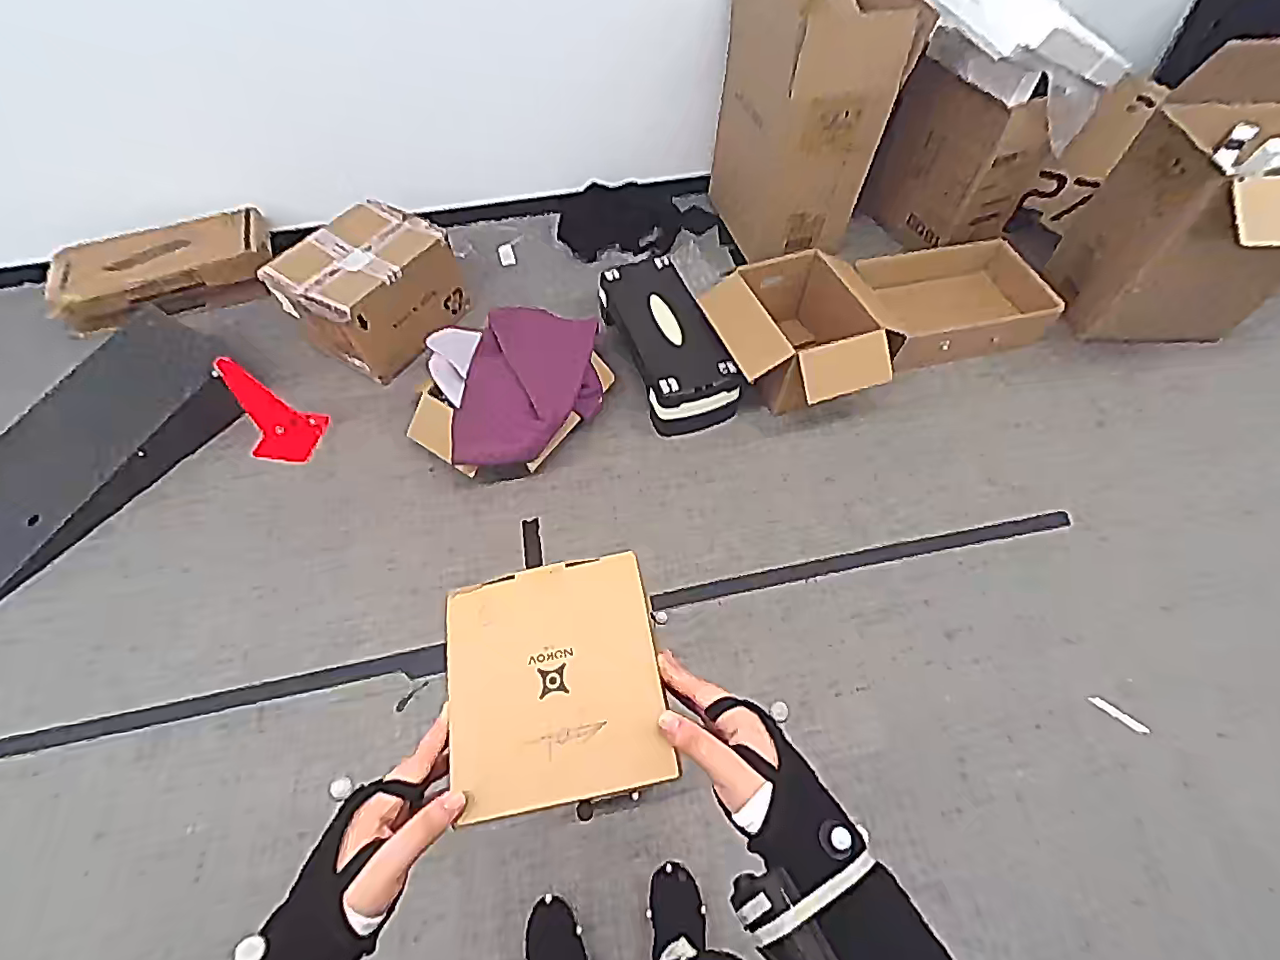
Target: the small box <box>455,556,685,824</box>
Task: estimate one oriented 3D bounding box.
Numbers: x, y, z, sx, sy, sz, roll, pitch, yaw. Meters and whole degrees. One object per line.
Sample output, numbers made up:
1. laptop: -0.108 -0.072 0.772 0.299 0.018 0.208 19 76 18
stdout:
1. small box: -0.057 0.192 0.495 0.168 0.176 0.179 -12 63 0
